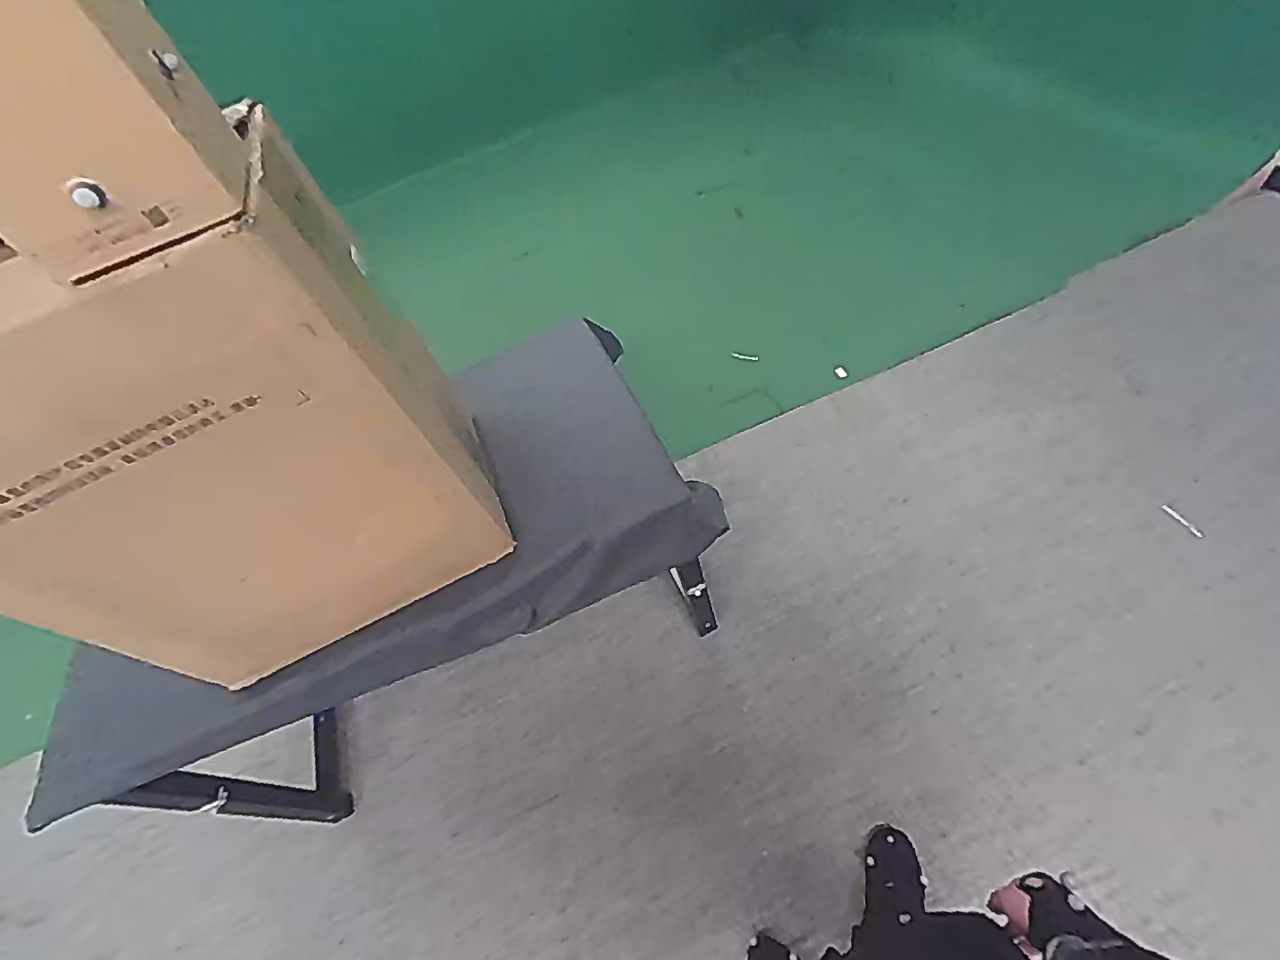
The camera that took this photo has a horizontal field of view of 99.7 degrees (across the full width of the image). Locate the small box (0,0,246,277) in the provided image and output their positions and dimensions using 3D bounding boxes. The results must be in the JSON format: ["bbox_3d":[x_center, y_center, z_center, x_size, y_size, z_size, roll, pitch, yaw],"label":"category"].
[{"bbox_3d":[-0.472,-0.306,0.455,0.168,0.176,0.179,-26,54,-6],"label":"small box"}]
